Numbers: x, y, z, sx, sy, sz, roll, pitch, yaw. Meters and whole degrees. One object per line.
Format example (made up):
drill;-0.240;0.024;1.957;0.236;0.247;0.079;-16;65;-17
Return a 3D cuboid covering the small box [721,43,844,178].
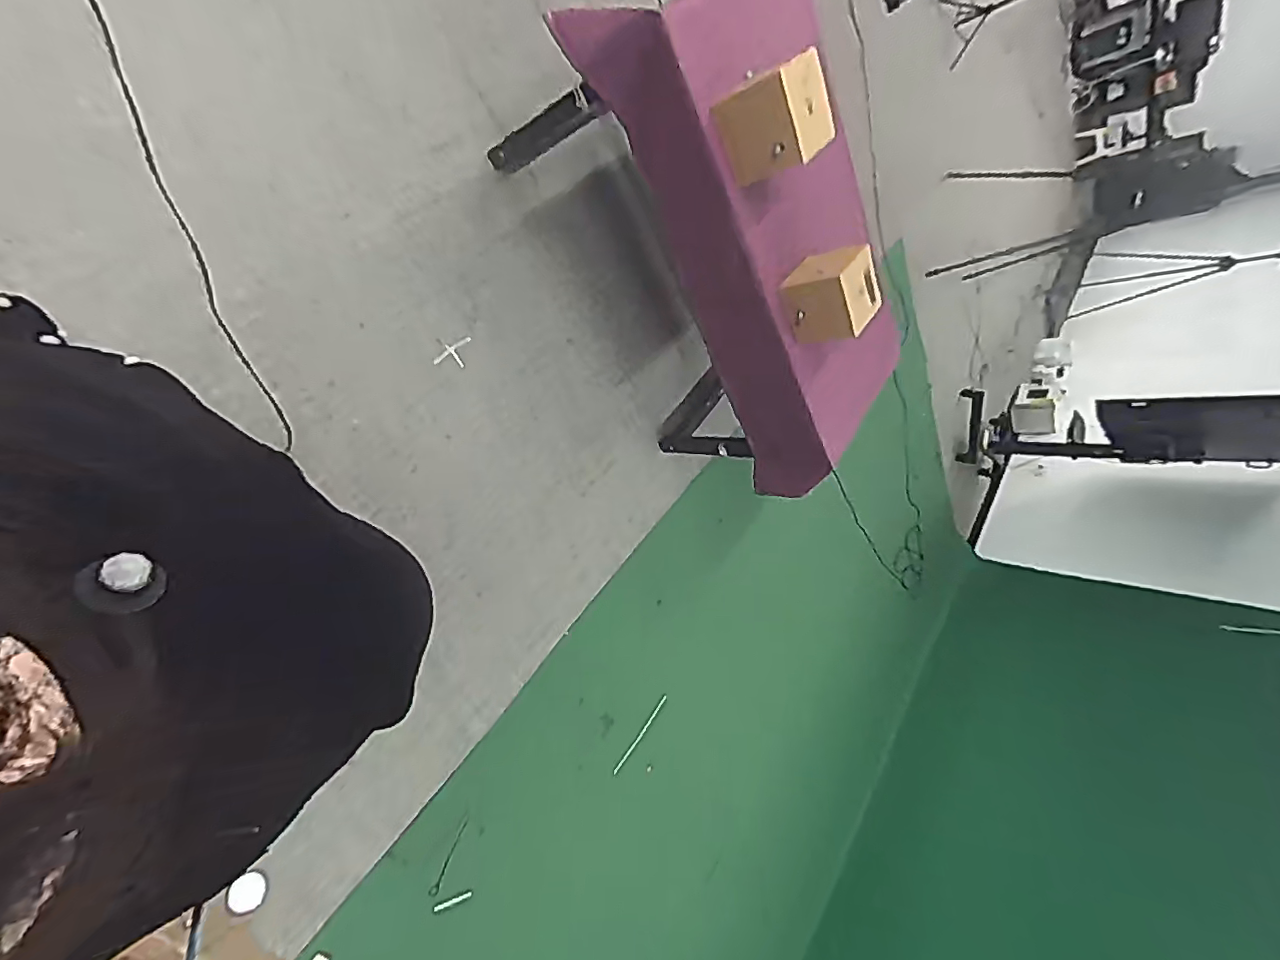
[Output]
small box;0.303;-0.772;1.149;0.168;0.176;0.179;-49;125;-28
